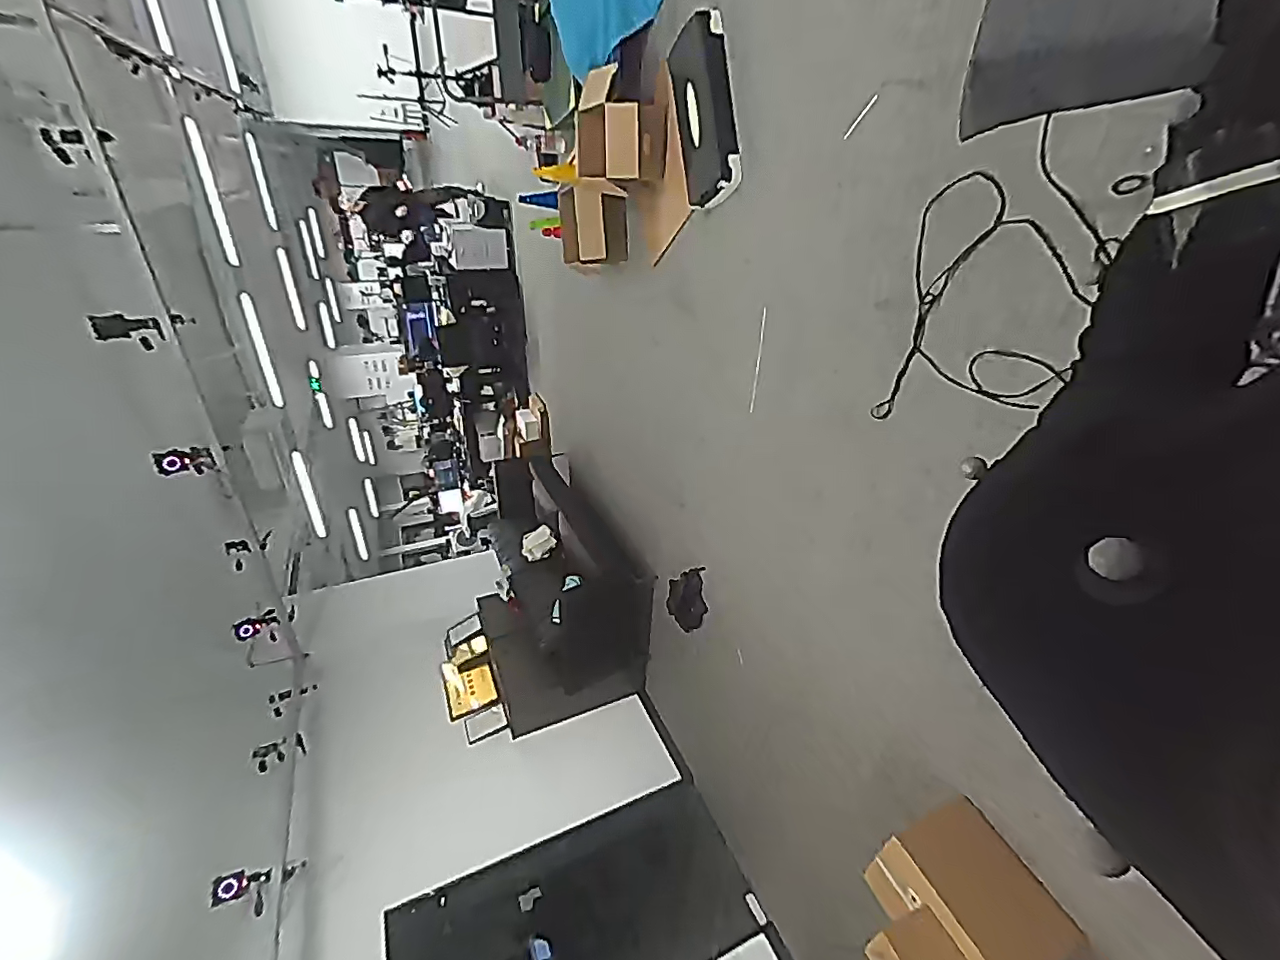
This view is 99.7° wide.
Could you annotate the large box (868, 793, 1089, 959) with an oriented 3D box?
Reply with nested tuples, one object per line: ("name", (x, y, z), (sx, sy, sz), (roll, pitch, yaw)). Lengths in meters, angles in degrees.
("large box", (0.981, 1.251, 1.613), (0.408, 0.320, 0.320), (-125, 32, -47))
